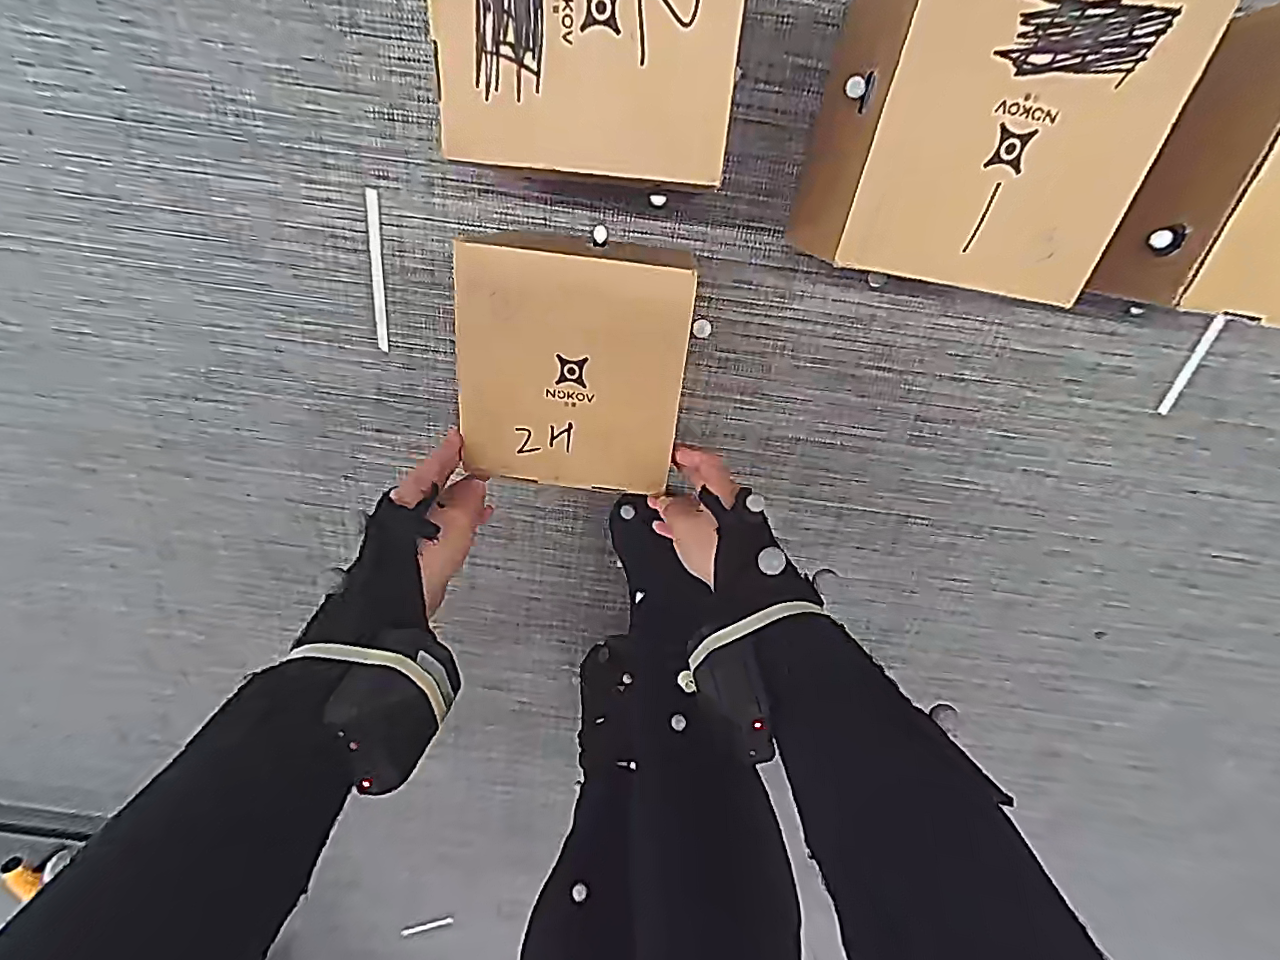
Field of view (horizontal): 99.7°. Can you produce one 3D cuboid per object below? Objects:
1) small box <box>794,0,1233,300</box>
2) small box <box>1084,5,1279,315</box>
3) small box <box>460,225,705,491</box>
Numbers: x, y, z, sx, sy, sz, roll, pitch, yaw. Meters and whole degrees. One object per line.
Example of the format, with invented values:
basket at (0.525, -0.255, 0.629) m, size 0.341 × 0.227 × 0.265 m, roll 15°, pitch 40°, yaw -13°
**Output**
small box at (0.224, -0.244, 0.384) m, size 0.168 × 0.176 × 0.179 m, roll 10°, pitch 118°, yaw -3°
small box at (0.450, -0.221, 0.391) m, size 0.168 × 0.176 × 0.179 m, roll 8°, pitch 118°, yaw -2°
small box at (-0.045, -0.113, 0.461) m, size 0.168 × 0.176 × 0.179 m, roll 7°, pitch 118°, yaw -1°
